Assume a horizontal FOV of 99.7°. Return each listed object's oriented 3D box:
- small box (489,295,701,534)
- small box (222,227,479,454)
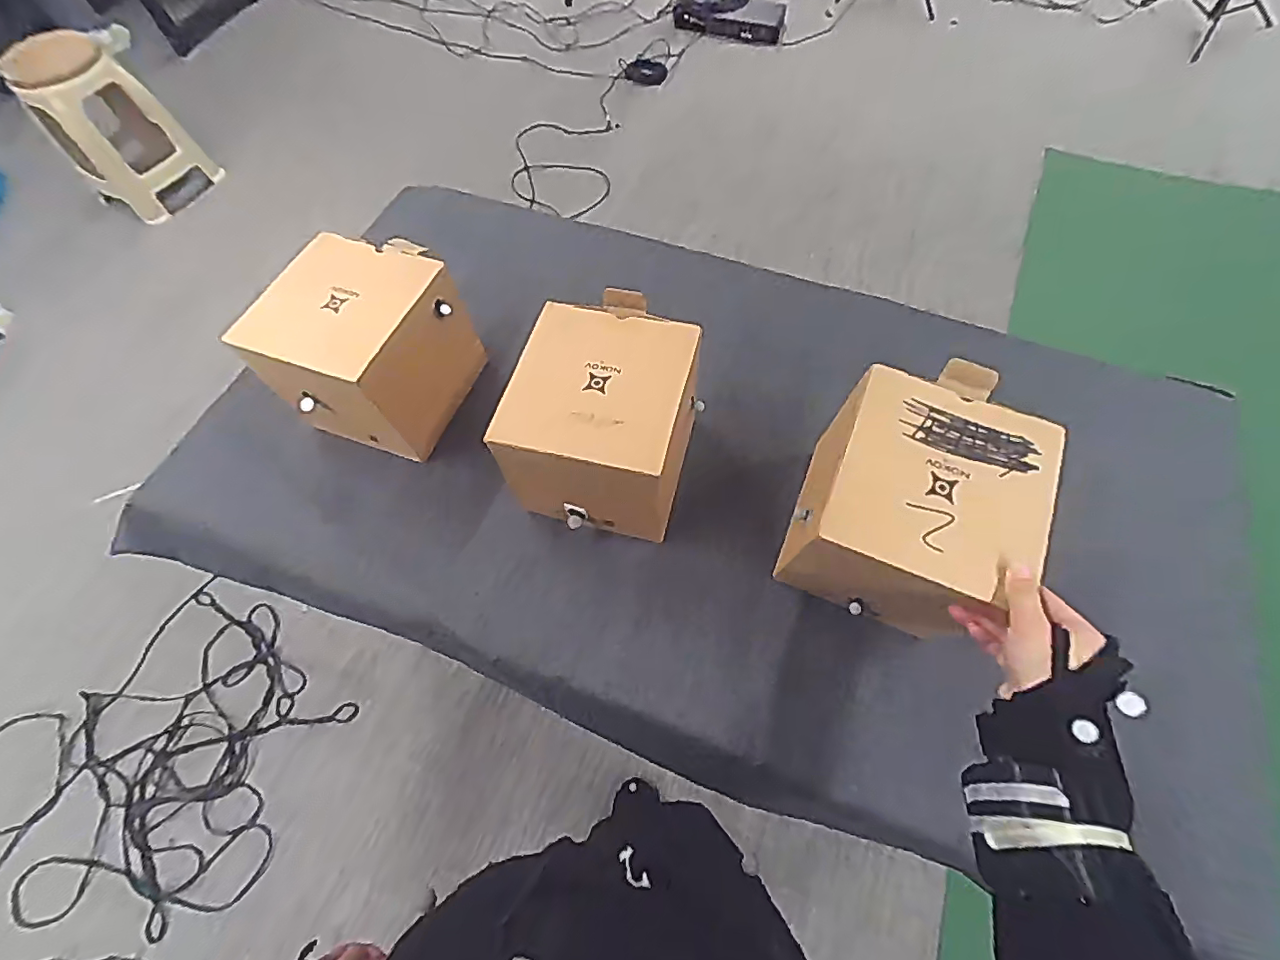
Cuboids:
[{"bbox_3d":[-0.035,-0.064,0.577,0.168,0.176,0.179,10,64,9],"label":"small box"},{"bbox_3d":[-0.314,-0.155,0.634,0.168,0.176,0.179,17,64,11],"label":"small box"}]
